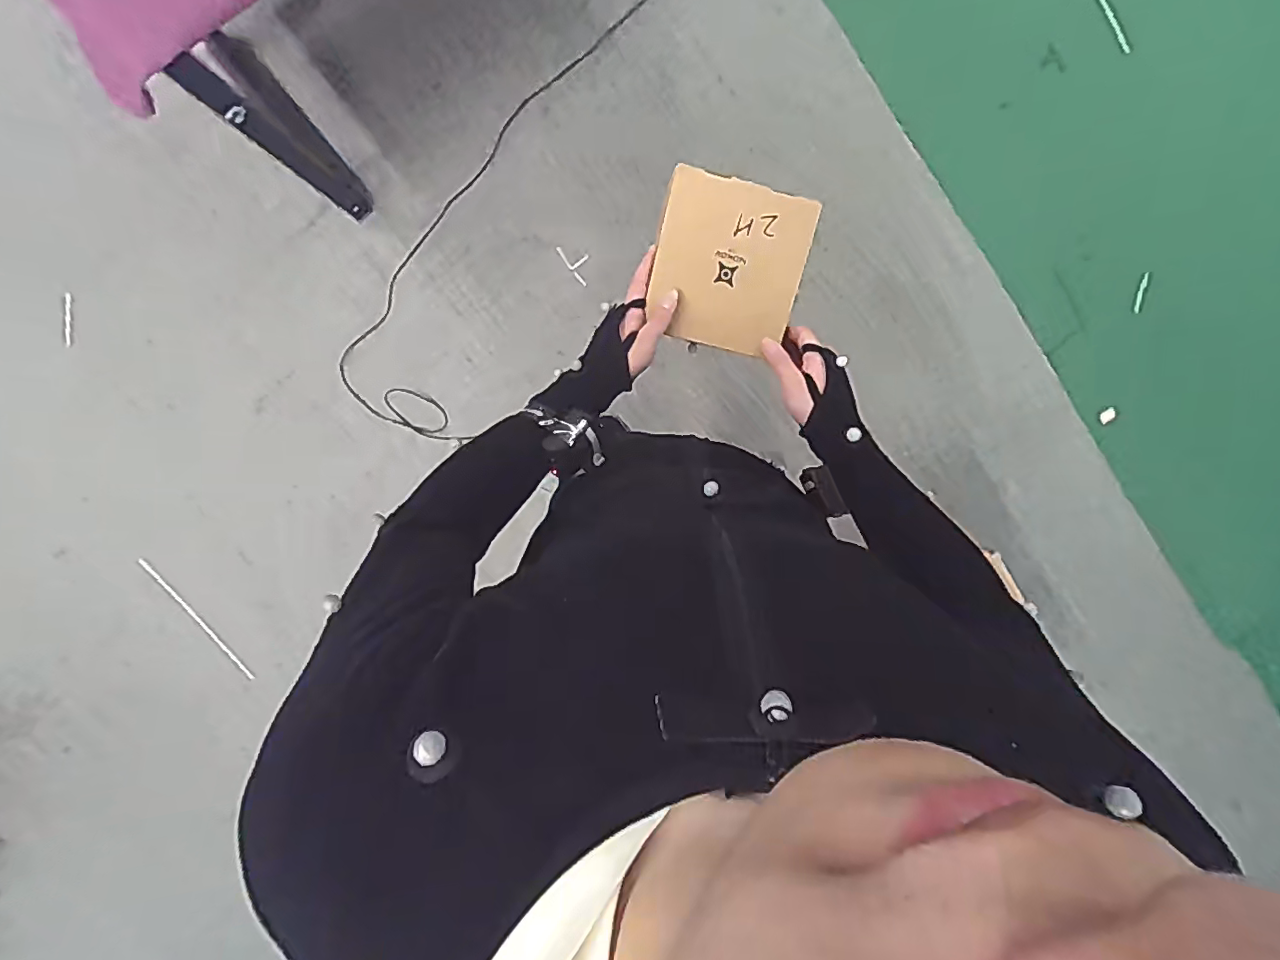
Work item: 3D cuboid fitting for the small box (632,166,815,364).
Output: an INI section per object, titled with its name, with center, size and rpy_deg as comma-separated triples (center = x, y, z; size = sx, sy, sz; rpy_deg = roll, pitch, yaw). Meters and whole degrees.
[small box]
center = 0.089, -0.253, 0.669
size = 0.168, 0.176, 0.179
rpy_deg = 12, 106, -5
